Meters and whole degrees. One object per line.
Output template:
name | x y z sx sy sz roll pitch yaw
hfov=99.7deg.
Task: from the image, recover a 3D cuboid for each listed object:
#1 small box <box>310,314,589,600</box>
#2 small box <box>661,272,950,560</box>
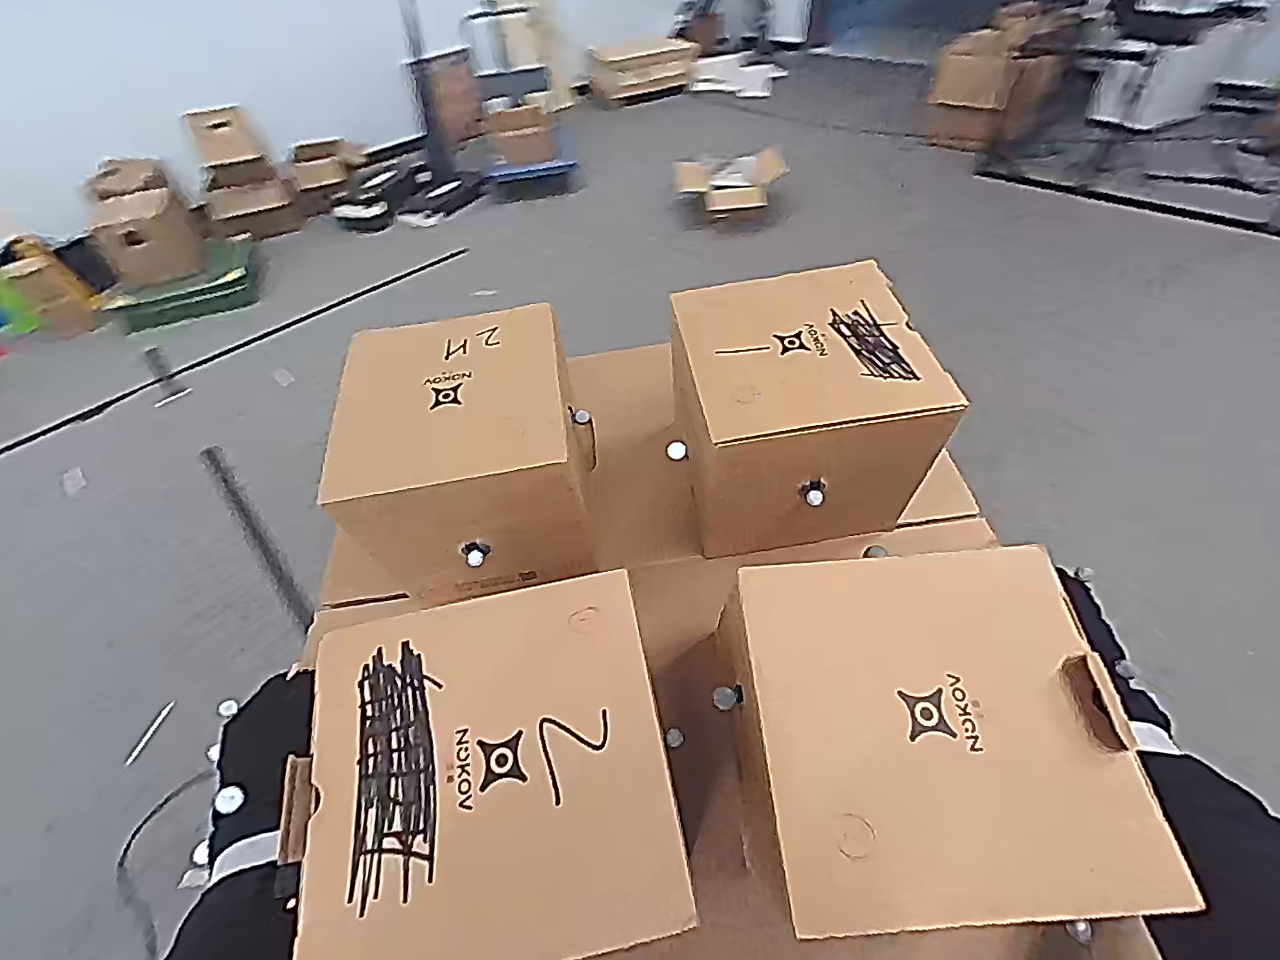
small box | -0.142 -0.010 0.465 0.168 0.176 0.179 -10 54 -3
small box | 0.118 -0.048 0.469 0.179 0.176 0.168 -10 55 -1
